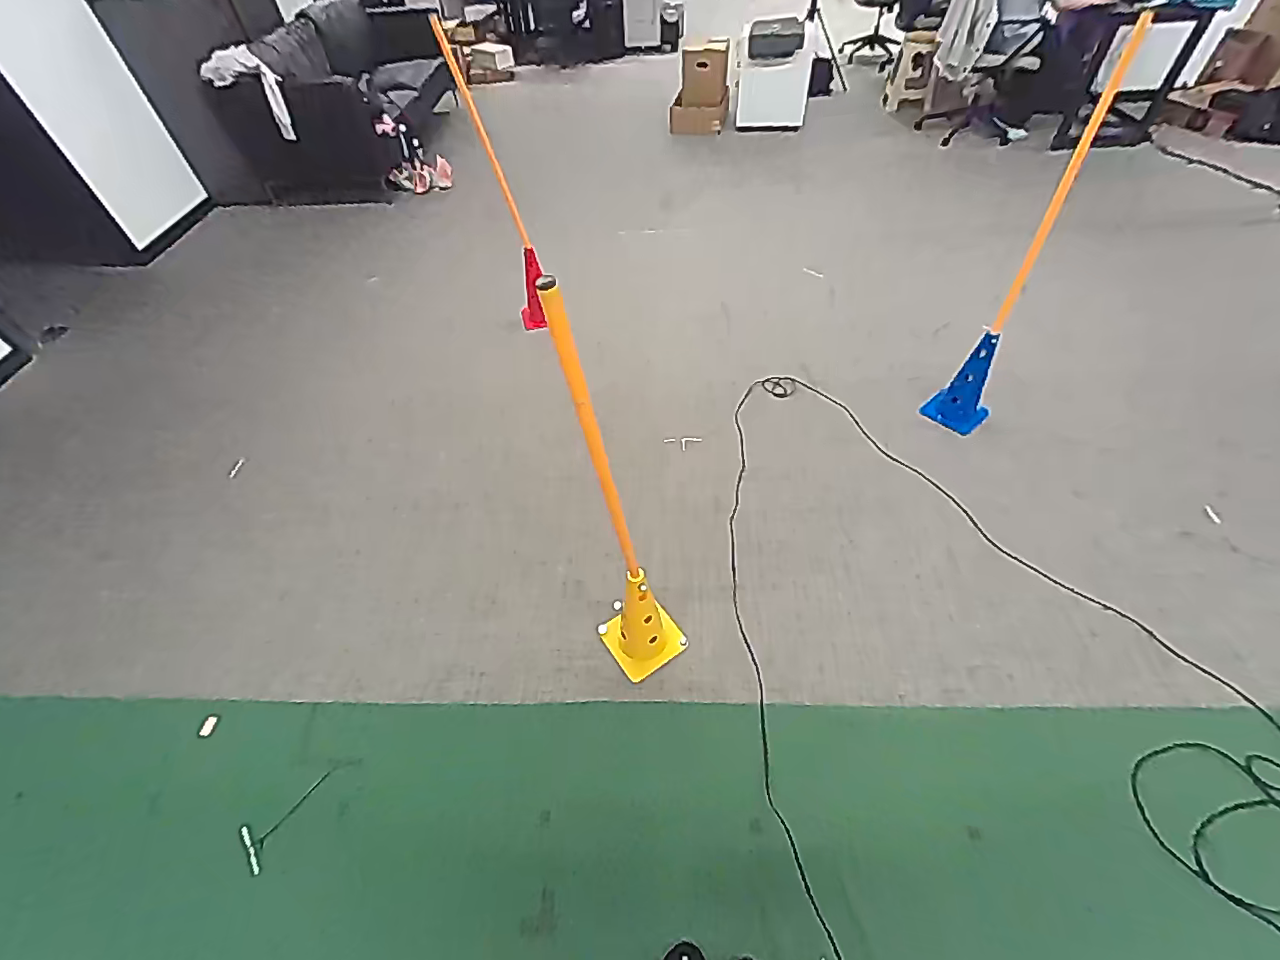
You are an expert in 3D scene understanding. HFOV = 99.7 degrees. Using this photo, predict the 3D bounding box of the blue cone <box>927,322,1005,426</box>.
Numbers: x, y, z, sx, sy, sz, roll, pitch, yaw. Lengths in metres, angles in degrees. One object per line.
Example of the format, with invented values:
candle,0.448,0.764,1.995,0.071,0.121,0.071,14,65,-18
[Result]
blue cone,1.217,-0.402,1.967,0.193,0.380,0.192,-36,55,-26
